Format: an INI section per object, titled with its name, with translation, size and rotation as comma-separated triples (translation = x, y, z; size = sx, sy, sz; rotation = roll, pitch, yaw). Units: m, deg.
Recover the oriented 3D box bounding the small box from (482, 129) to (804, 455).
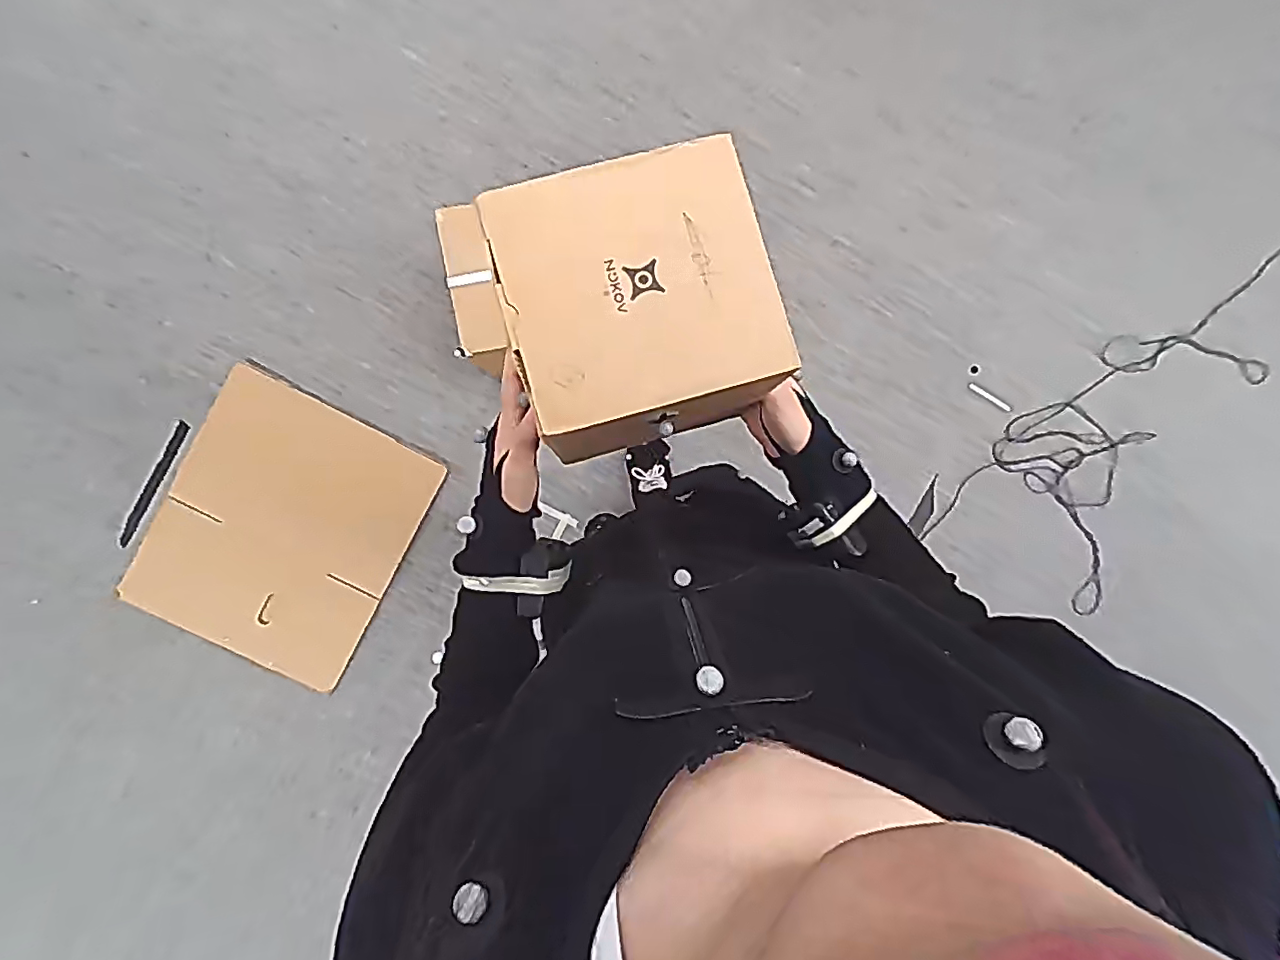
[small box]
translation = -0.001, -0.124, 0.426
size = 0.179, 0.176, 0.168
rotation = -17, 88, -4
